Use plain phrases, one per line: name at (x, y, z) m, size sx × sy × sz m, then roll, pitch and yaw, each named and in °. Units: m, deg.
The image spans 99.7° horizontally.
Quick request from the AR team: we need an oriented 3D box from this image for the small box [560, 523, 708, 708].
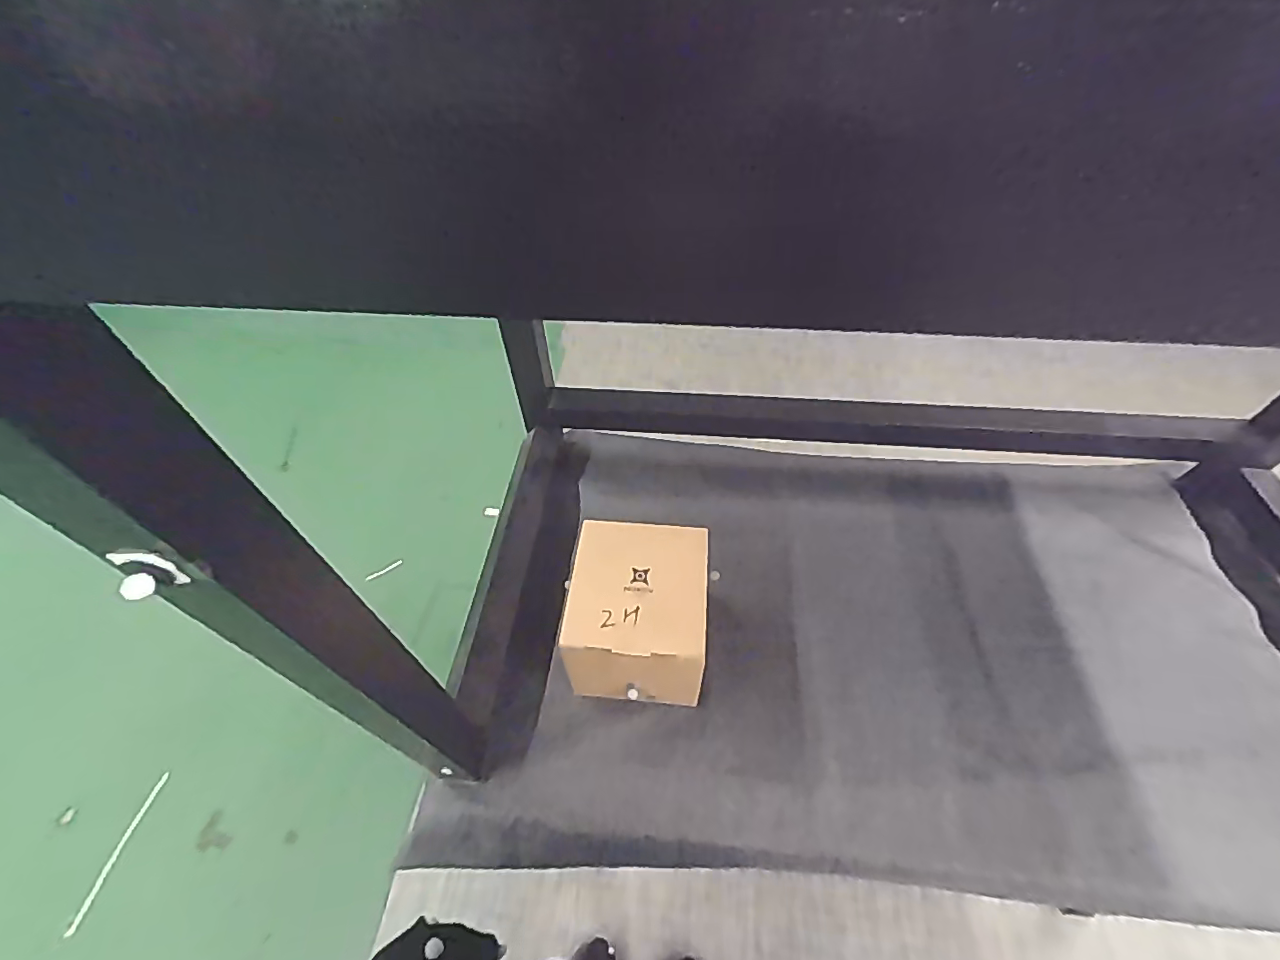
small box at (0.000, 0.179, 0.715) m, size 0.168 × 0.176 × 0.179 m, roll 3°, pitch 50°, yaw 5°
